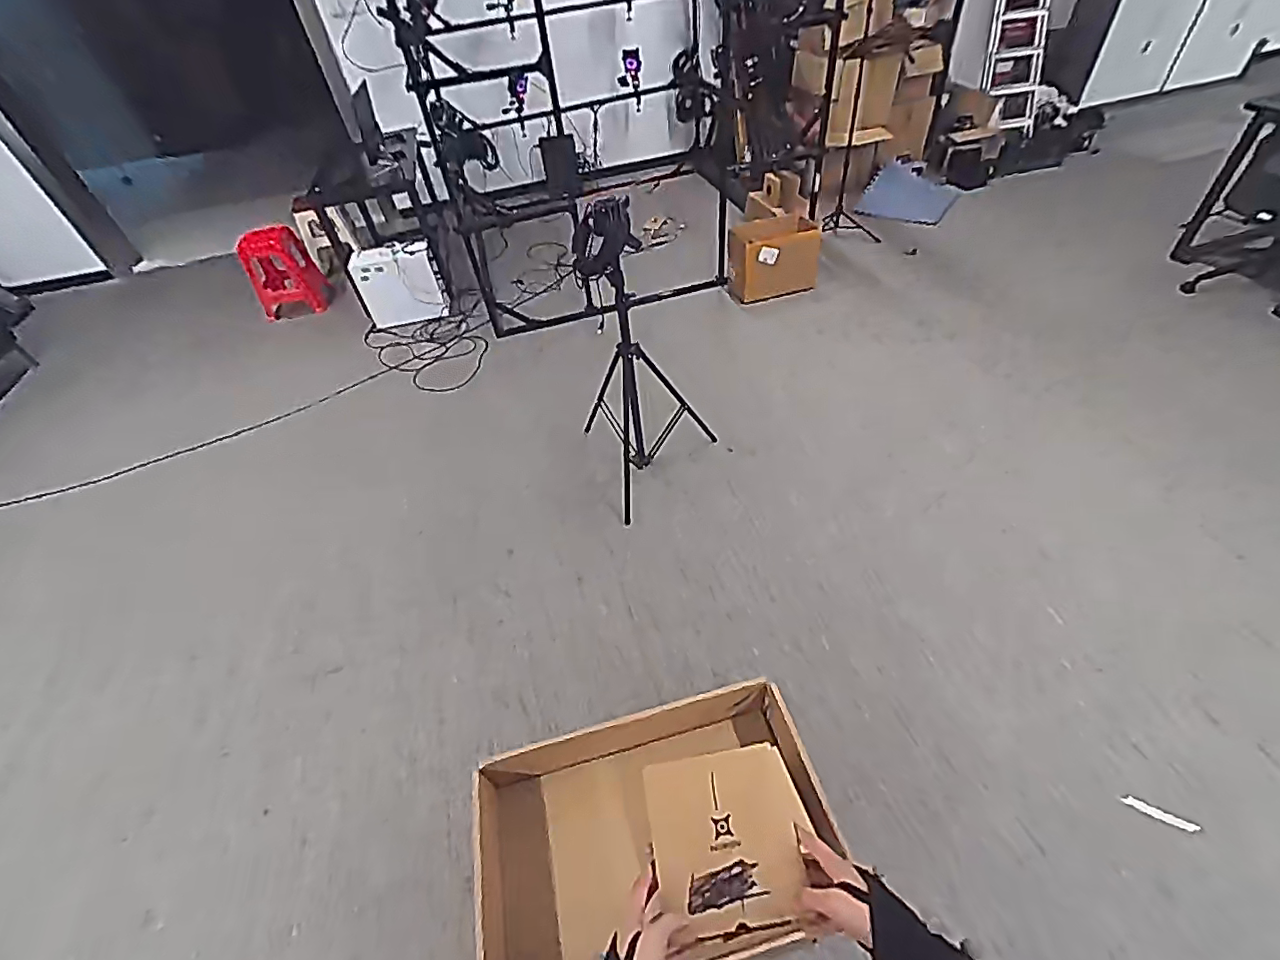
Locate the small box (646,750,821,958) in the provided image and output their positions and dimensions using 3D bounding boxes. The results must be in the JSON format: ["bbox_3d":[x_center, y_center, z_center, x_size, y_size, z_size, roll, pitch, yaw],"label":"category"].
[{"bbox_3d":[0.108,0.464,0.676,0.168,0.176,0.179,-11,50,-2],"label":"small box"}]
